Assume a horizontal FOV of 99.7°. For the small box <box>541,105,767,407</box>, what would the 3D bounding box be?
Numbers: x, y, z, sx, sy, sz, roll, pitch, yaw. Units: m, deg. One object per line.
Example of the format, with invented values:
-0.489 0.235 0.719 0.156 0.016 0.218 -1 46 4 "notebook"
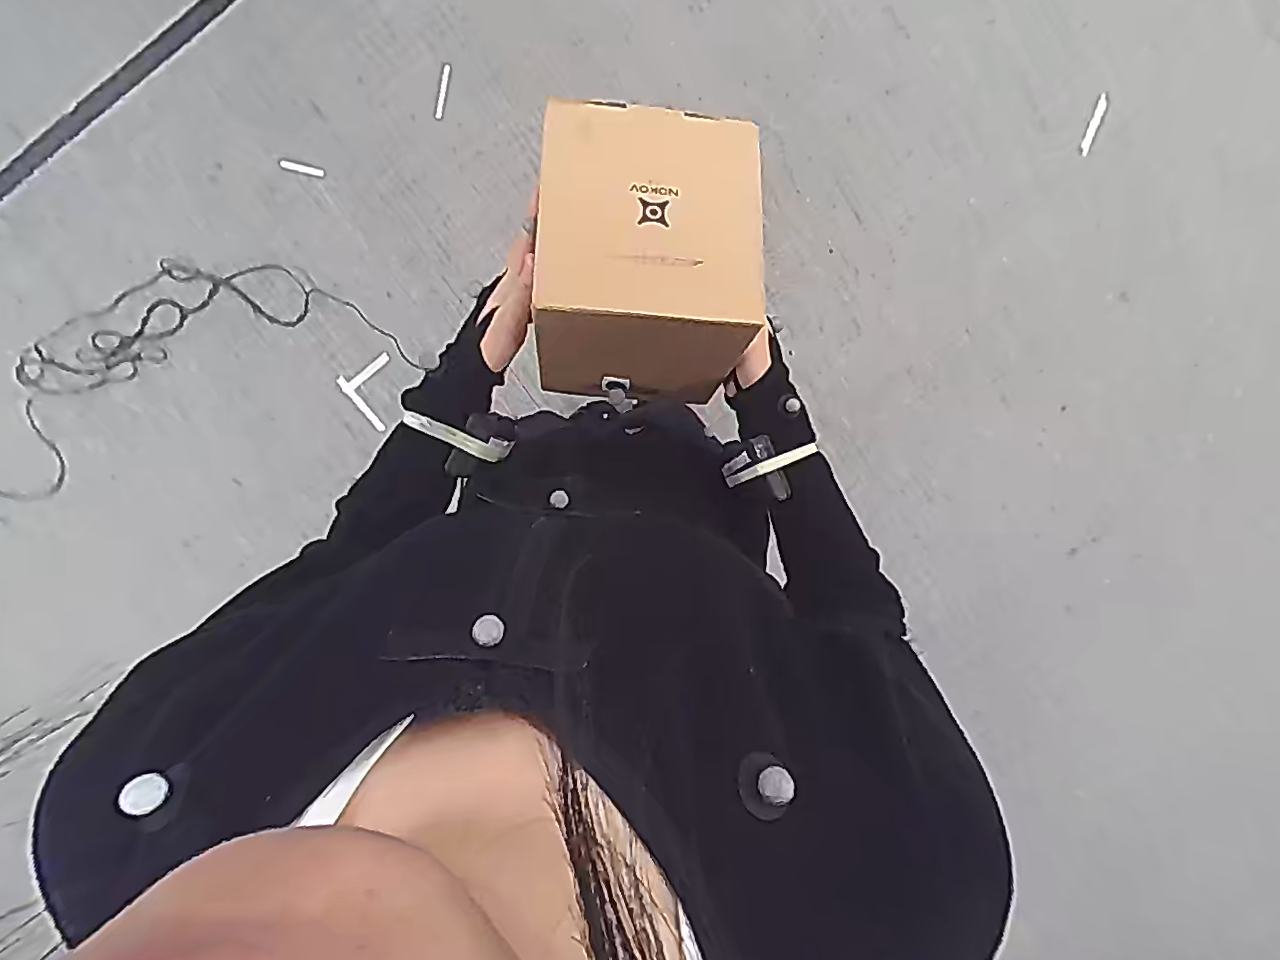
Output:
0.002 -0.179 0.478 0.168 0.176 0.179 2 78 -7 "small box"
